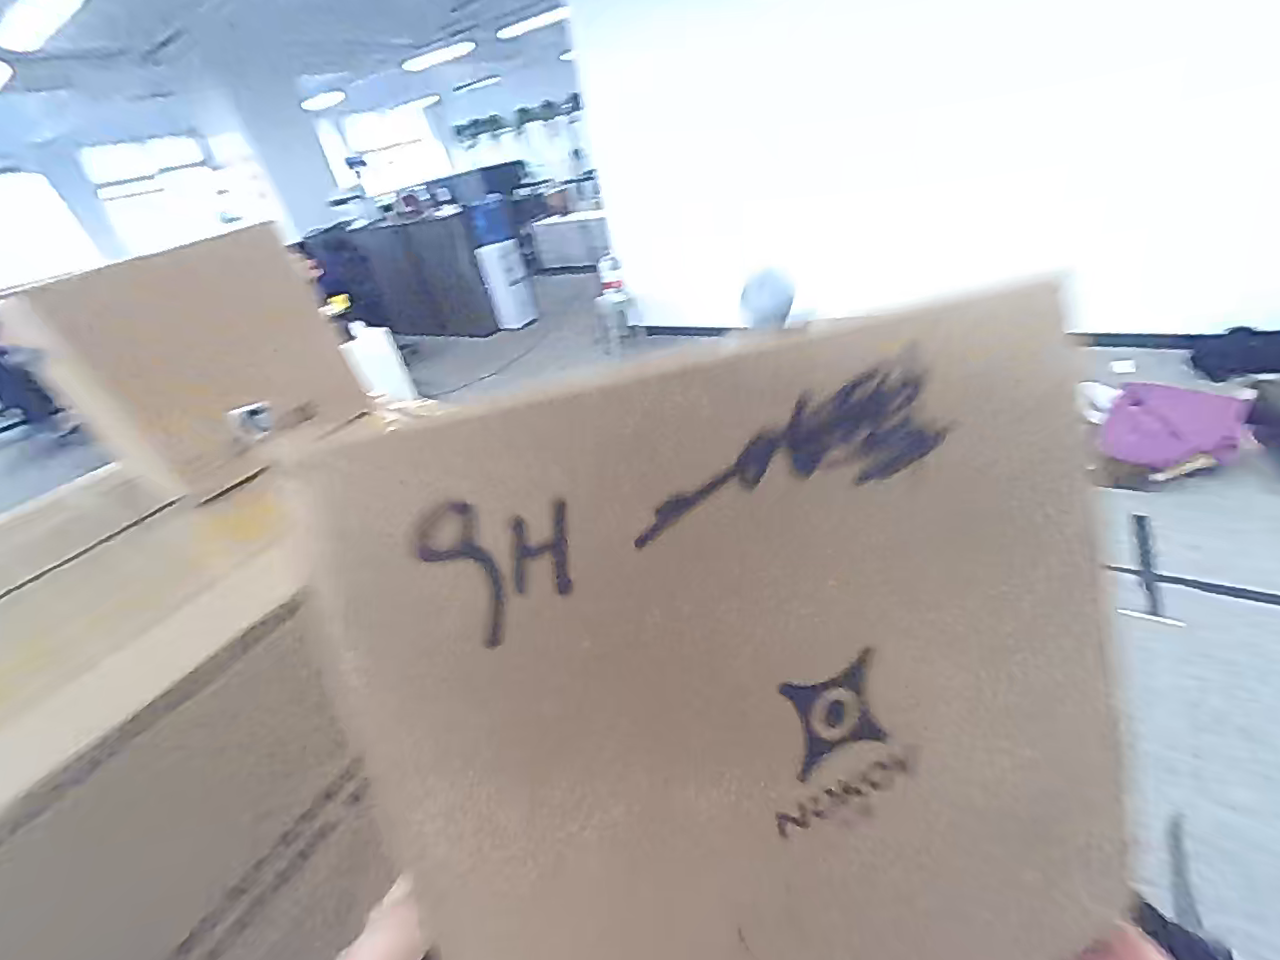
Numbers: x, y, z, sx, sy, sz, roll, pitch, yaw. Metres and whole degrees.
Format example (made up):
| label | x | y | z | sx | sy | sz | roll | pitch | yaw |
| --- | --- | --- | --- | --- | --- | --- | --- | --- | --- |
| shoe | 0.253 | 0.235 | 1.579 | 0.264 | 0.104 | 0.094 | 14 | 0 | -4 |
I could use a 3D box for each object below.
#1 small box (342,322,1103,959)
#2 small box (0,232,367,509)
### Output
| label | x | y | z | sx | sy | sz | roll | pitch | yaw |
| --- | --- | --- | --- | --- | --- | --- | --- | --- | --- |
| small box | 0.019 | 0.055 | 0.202 | 0.168 | 0.179 | 0.176 | -15 | 9 | -16 |
| small box | -0.383 | -0.094 | 0.465 | 0.179 | 0.176 | 0.168 | 10 | 42 | 33 |
